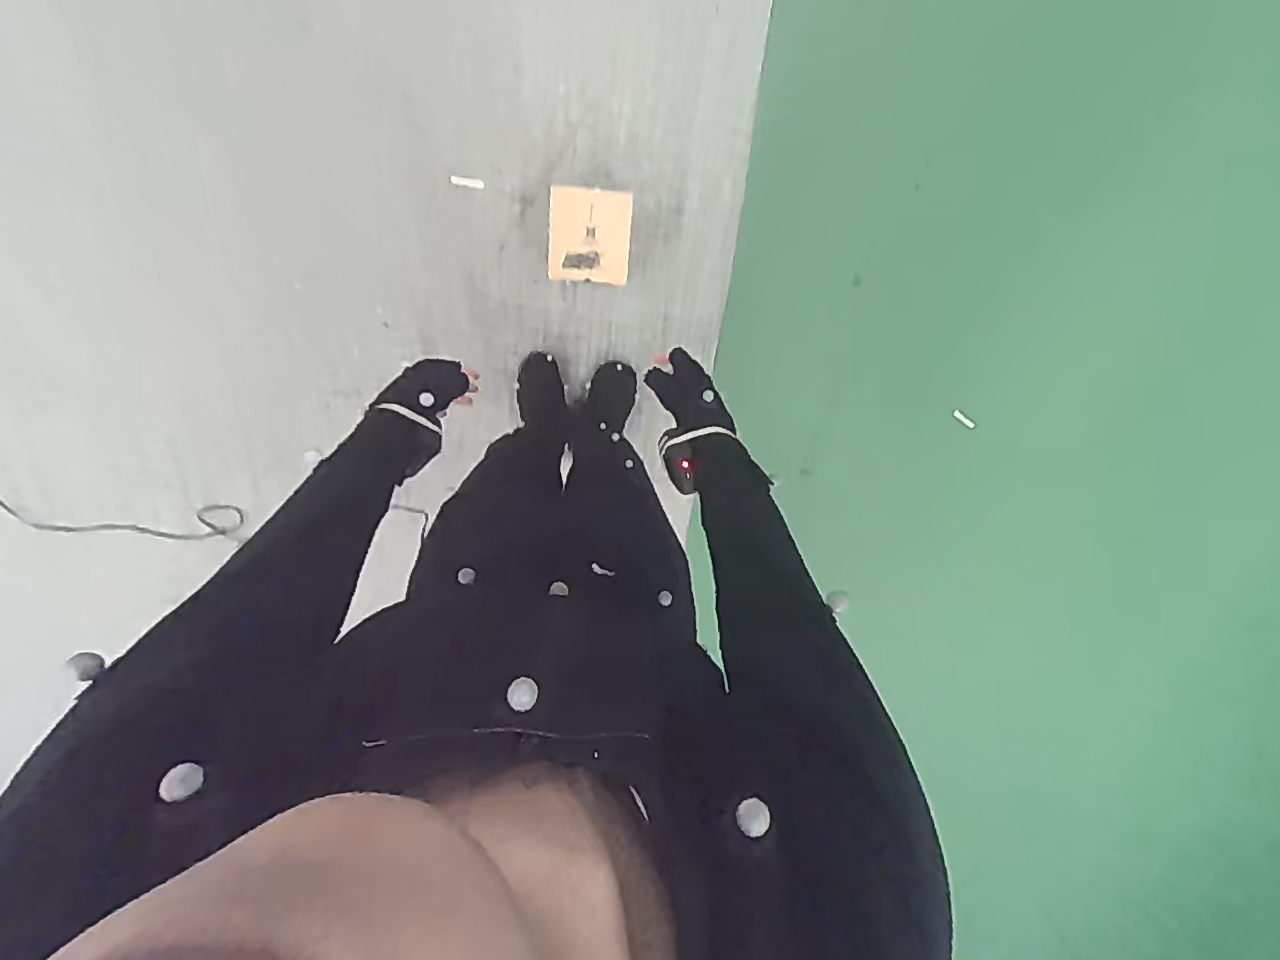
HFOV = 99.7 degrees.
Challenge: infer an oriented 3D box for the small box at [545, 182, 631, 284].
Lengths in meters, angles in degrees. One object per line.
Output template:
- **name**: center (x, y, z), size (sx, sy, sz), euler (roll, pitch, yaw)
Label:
- **small box**: center (-0.109, -0.525, 1.163), size (0.168, 0.176, 0.179), euler (4, 111, -4)
